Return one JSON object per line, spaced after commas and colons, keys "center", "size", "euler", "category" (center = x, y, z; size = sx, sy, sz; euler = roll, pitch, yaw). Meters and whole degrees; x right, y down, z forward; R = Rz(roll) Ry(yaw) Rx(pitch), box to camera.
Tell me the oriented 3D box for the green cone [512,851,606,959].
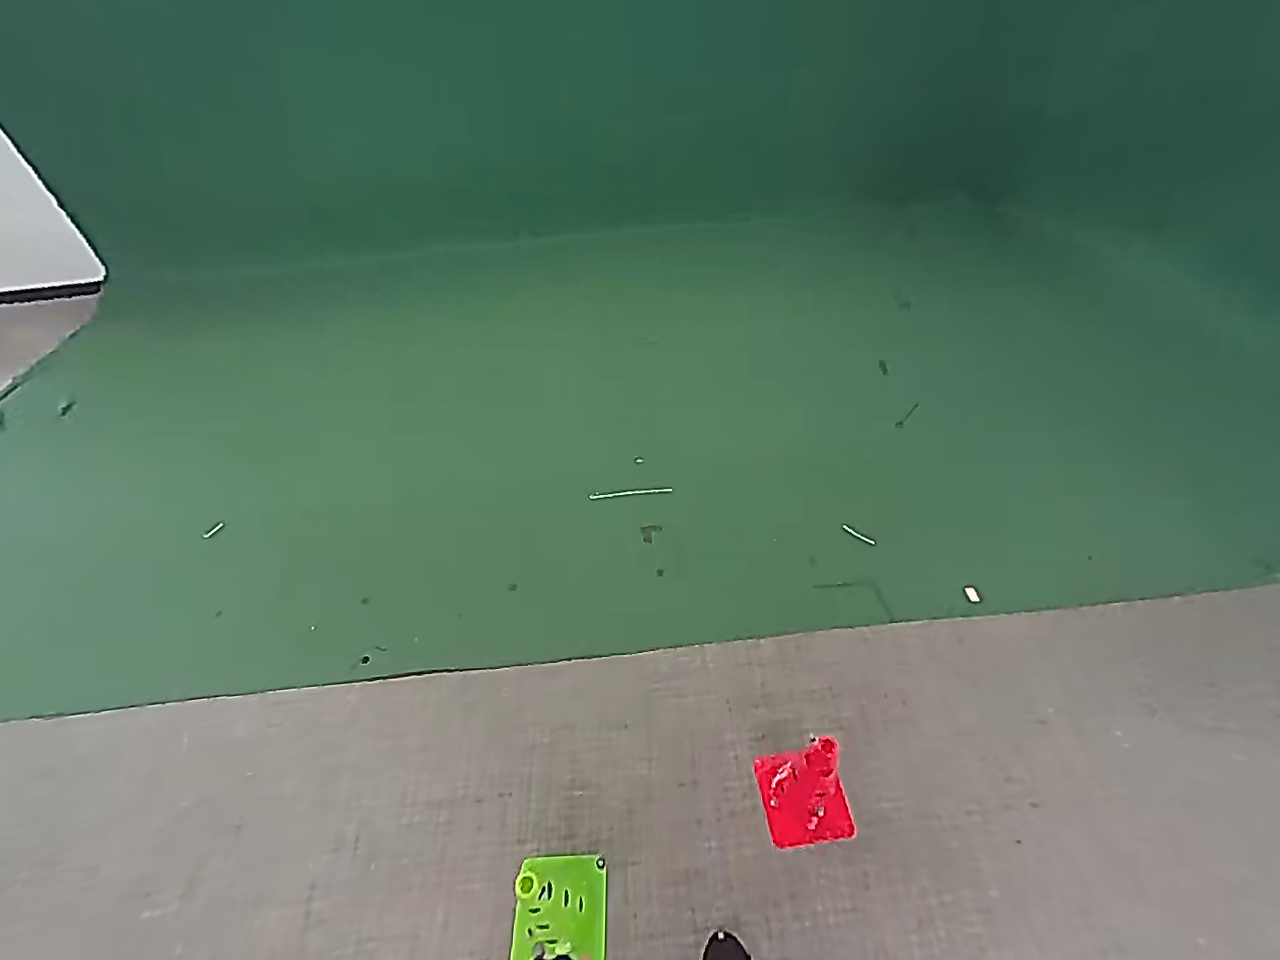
{"center": [-0.189, 0.824, 1.069], "size": [0.200, 0.368, 0.202], "euler": [-4, 46, 2], "category": "green cone"}
